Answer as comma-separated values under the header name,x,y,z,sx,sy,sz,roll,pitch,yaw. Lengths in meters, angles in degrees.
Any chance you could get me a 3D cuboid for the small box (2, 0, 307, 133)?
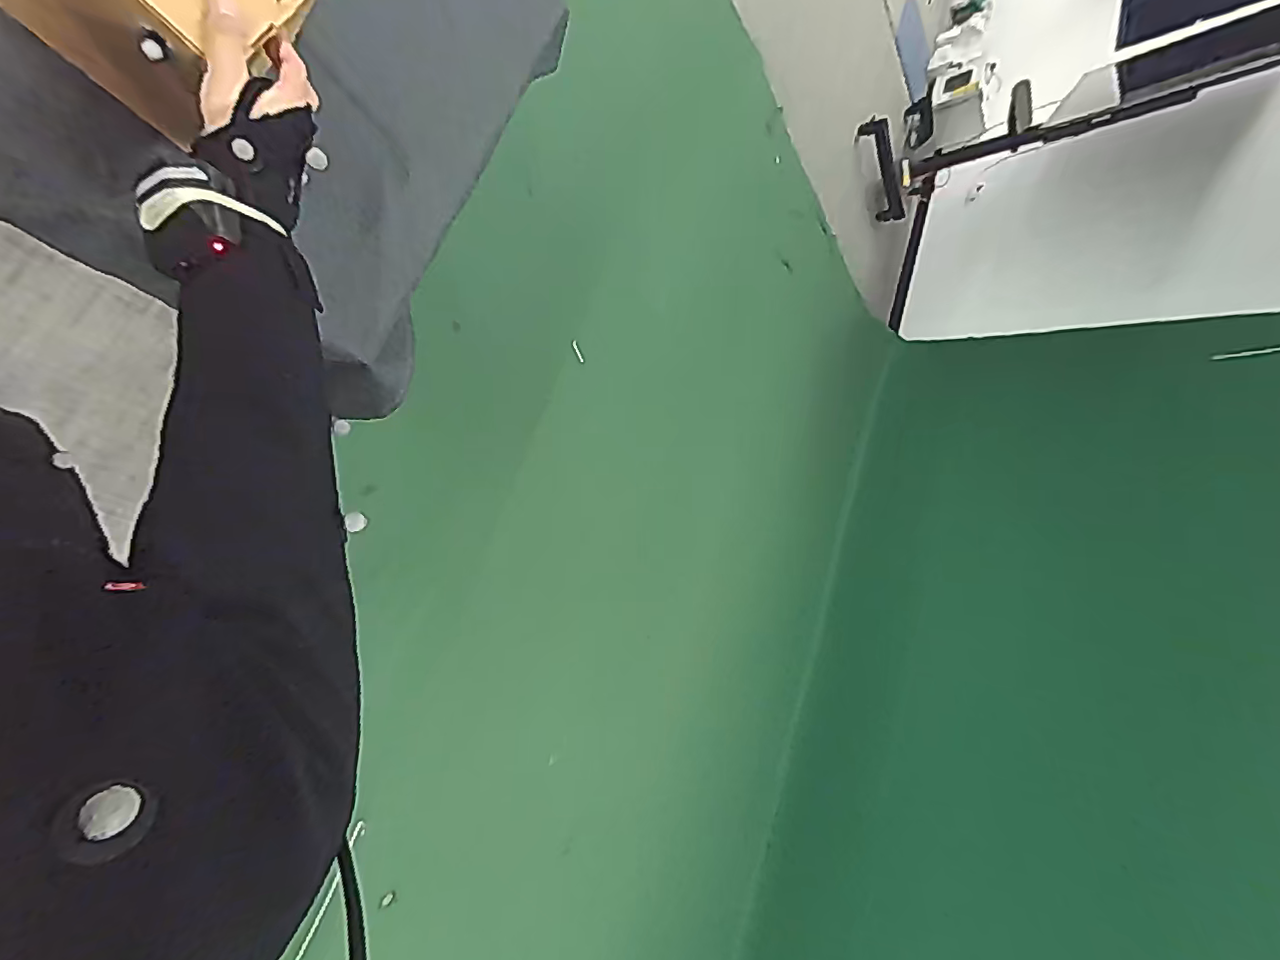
name,x,y,z,sx,sy,sz,roll,pitch,yaw
small box,-0.376,-0.411,0.406,0.179,0.176,0.168,40,65,-44
